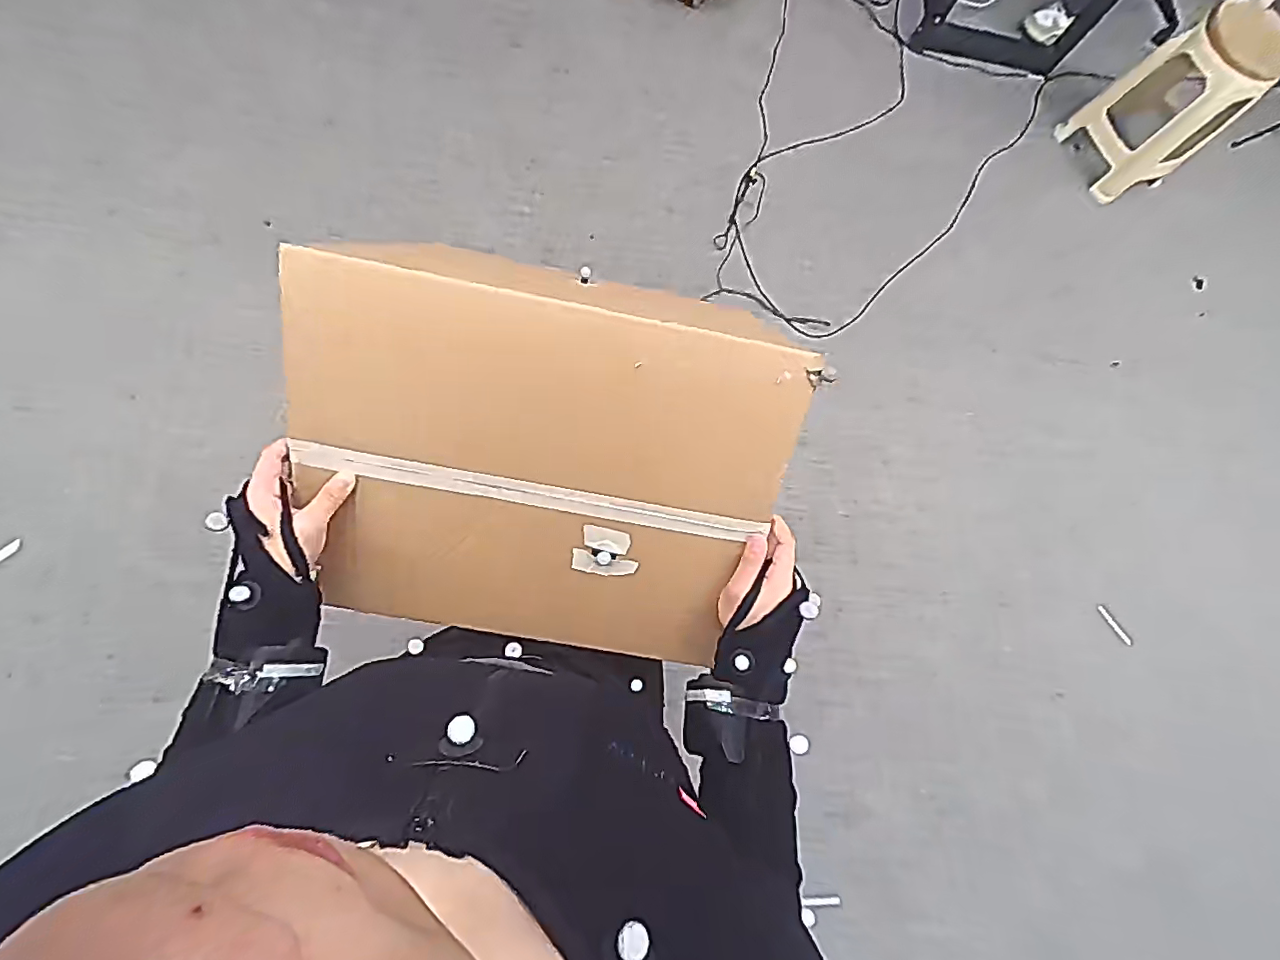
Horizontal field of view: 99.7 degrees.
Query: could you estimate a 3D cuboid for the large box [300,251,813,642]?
[{"bbox_3d":[-0.085,-0.061,0.608,0.408,0.320,0.320,9,115,-5],"label":"large box"}]
